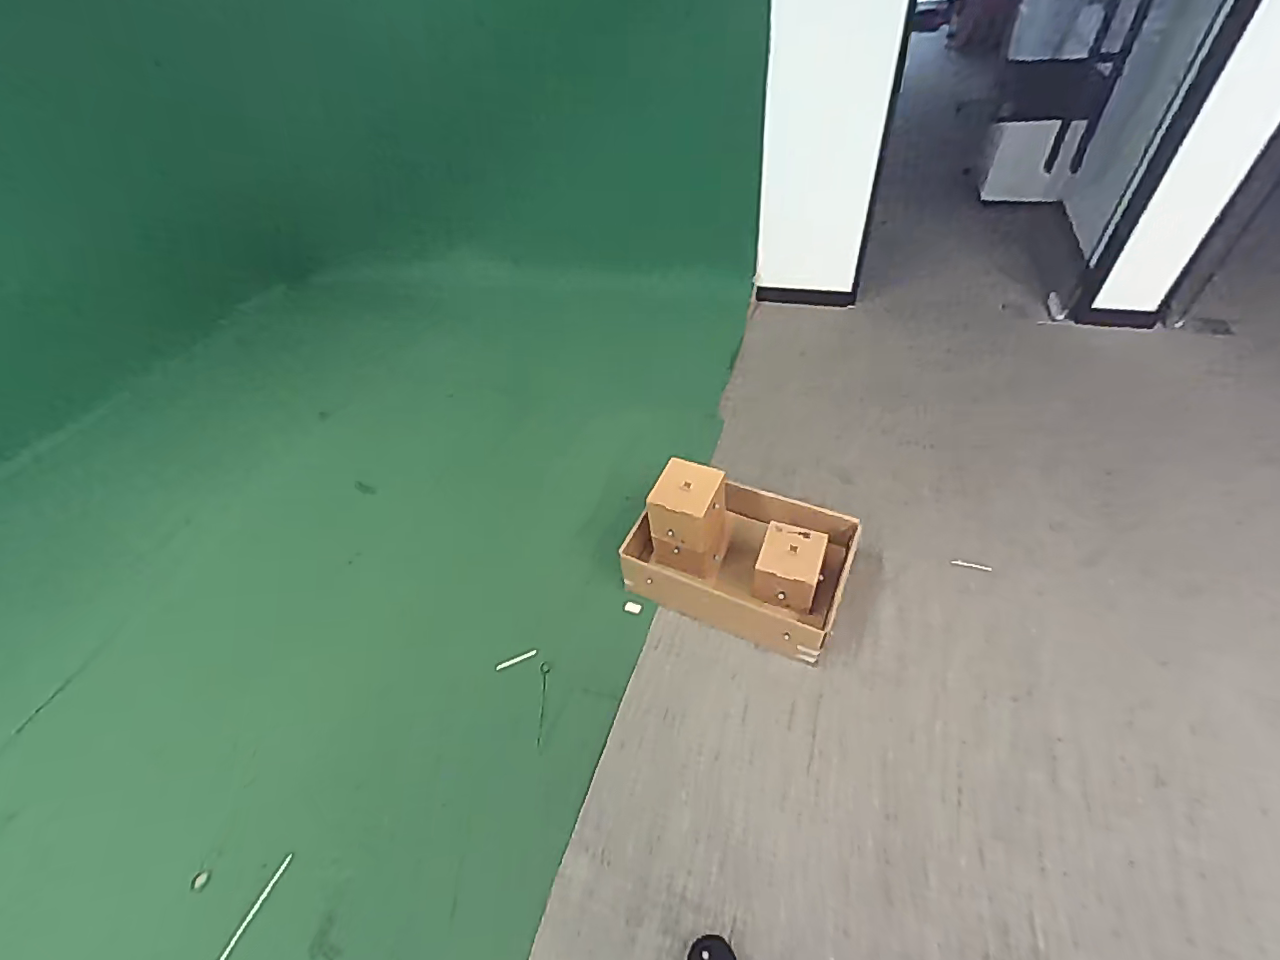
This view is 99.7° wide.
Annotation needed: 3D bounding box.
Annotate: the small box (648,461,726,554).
[{"bbox_3d":[0.137,0.079,1.544,0.168,0.176,0.179,17,54,21],"label":"small box"}]
